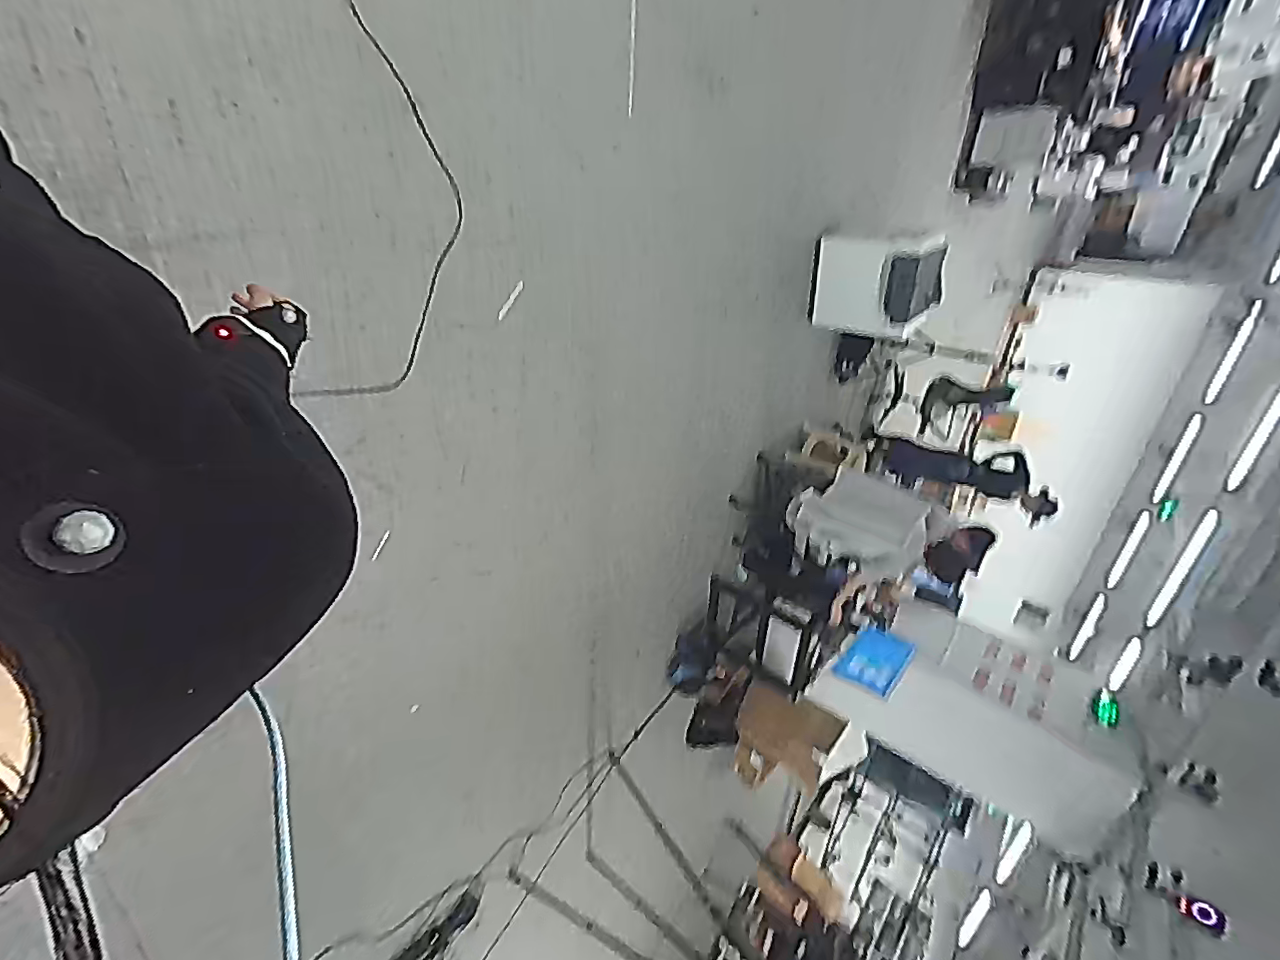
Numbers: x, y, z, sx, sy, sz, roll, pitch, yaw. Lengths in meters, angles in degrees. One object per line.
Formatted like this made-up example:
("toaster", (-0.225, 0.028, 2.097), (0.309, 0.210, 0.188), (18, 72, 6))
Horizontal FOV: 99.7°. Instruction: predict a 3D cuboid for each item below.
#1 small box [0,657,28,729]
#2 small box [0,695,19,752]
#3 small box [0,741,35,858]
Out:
("small box", (-1.283, 0.401, 0.982), (0.179, 0.176, 0.168), (-29, 129, -38))
("small box", (-1.170, 0.442, 0.871), (0.179, 0.176, 0.168), (-44, 137, -27))
("small box", (-1.042, 0.487, 0.778), (0.179, 0.176, 0.168), (-38, 134, -32))
